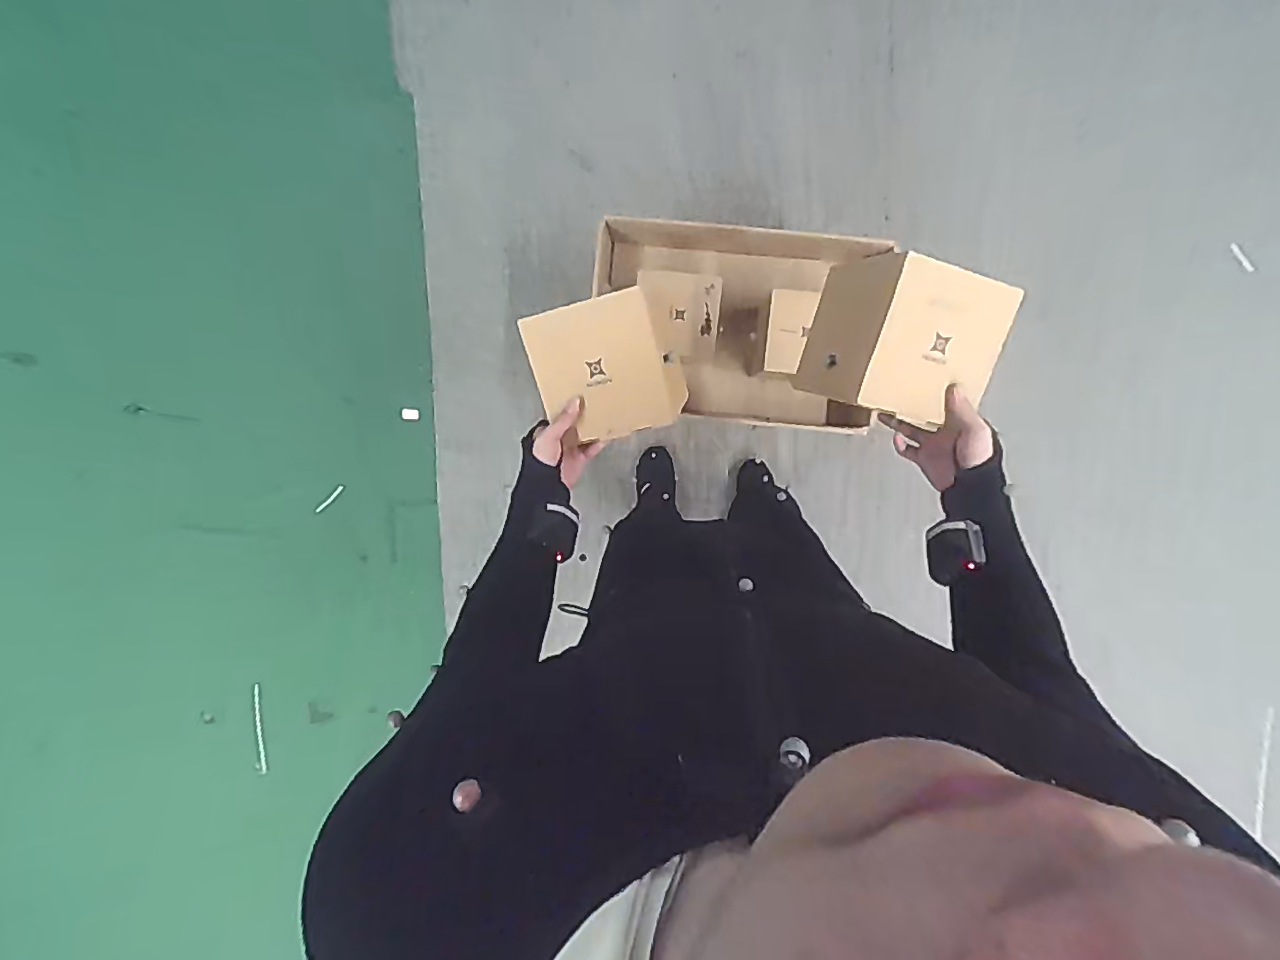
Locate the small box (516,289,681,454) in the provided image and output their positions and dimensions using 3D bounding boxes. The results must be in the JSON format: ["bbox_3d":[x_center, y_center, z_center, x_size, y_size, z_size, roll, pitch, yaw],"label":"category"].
[{"bbox_3d":[-0.045,-0.154,0.745,0.168,0.176,0.179,-11,108,13],"label":"small box"}]

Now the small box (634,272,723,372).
[{"bbox_3d":[0.073,-0.331,1.163,0.179,0.176,0.168,7,96,2],"label":"small box"}]

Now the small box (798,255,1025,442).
[{"bbox_3d":[0.327,-0.166,0.693,0.168,0.176,0.179,12,103,-15],"label":"small box"}]
